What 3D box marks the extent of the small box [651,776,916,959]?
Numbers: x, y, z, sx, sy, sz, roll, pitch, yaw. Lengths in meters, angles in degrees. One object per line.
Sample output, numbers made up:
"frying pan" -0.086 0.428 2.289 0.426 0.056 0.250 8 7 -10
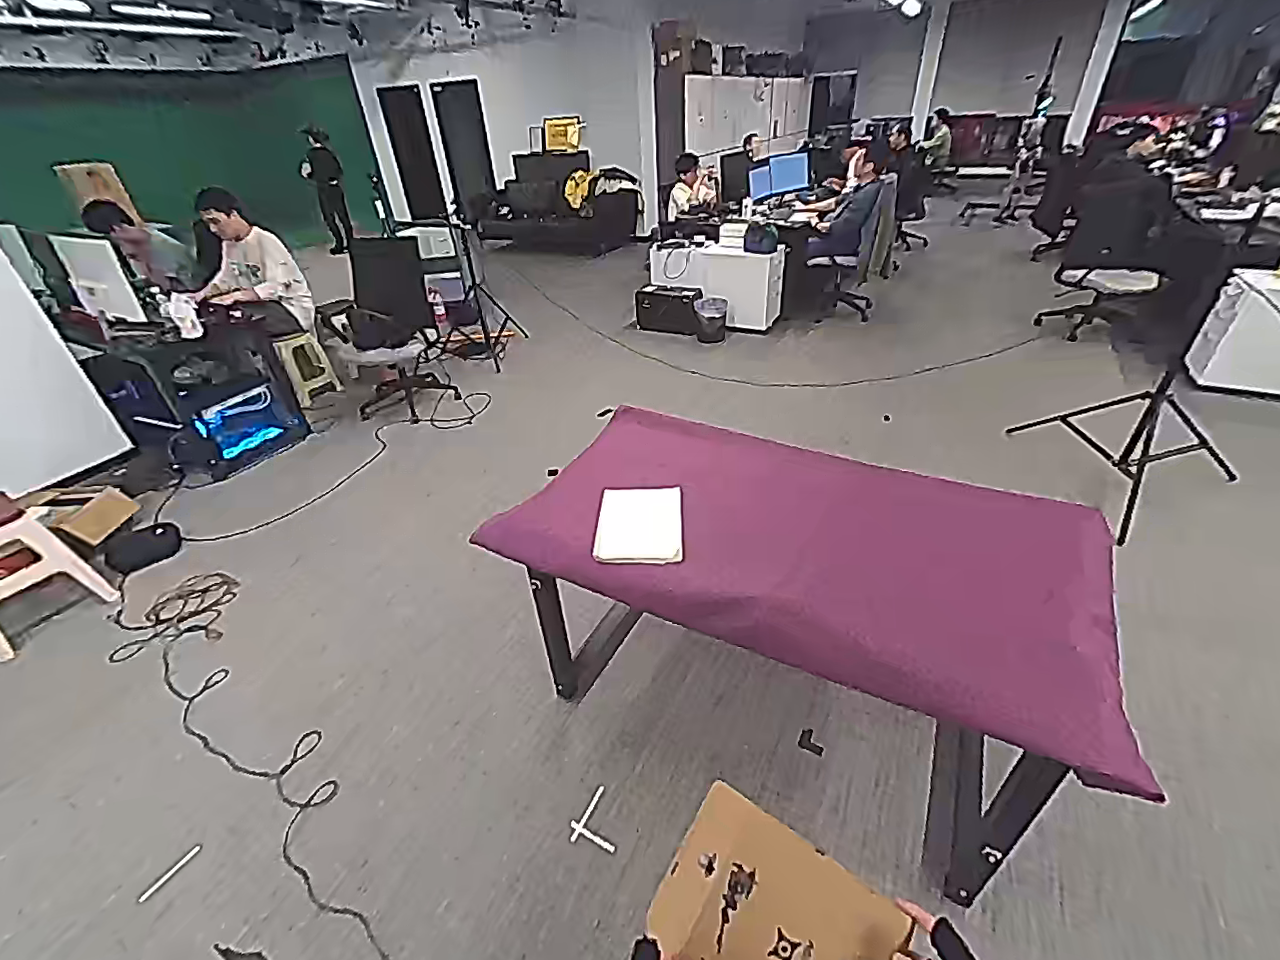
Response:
"small box" 0.128 0.428 0.544 0.179 0.176 0.168 32 70 8
